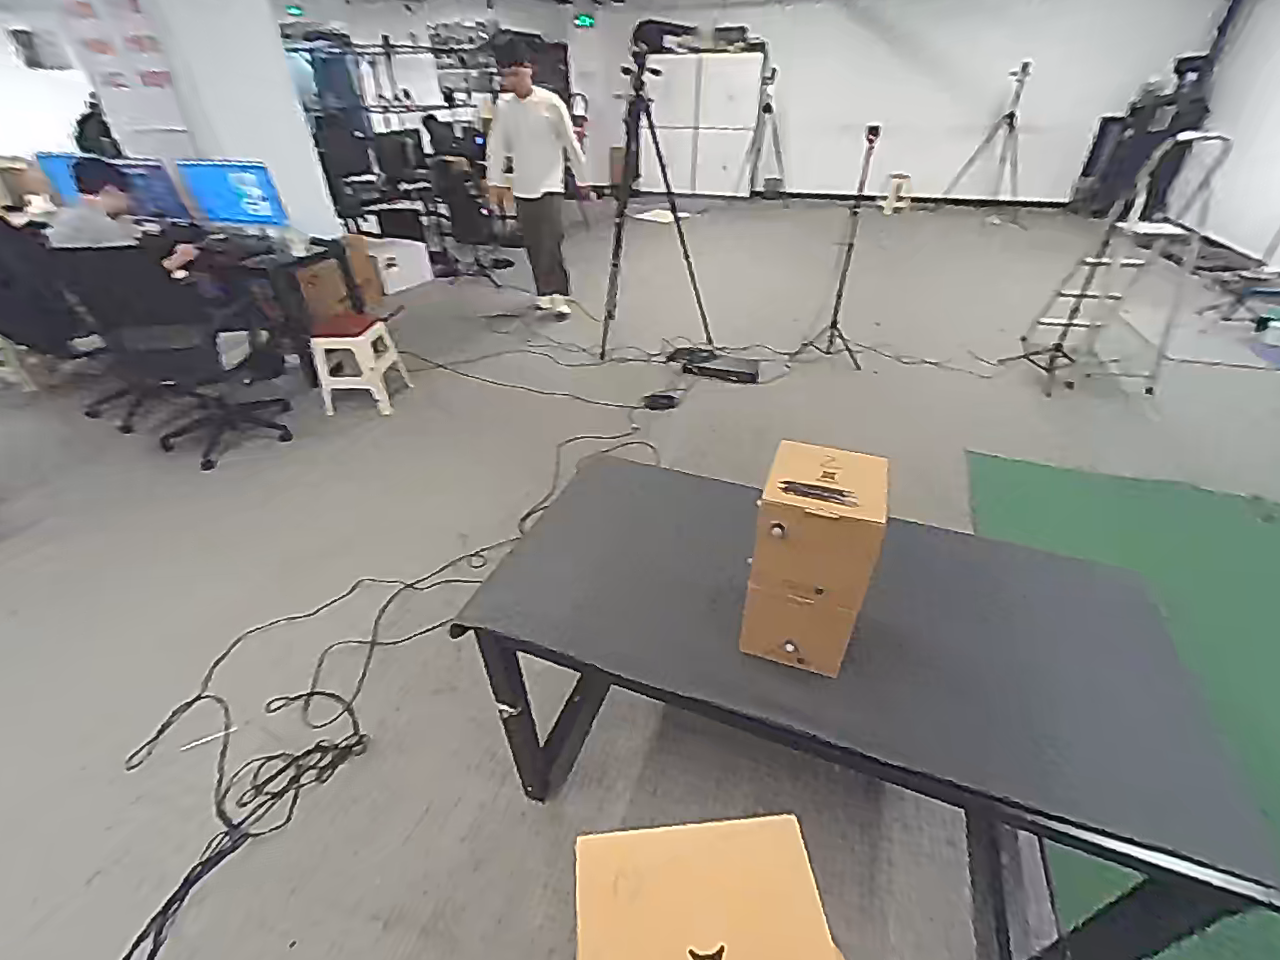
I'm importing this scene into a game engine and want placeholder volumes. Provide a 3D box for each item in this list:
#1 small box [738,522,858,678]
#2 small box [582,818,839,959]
[{"bbox_3d":[0.272,0.205,0.940,0.168,0.176,0.179,12,37,17],"label":"small box"},{"bbox_3d":[0.042,0.372,0.380,0.168,0.176,0.179,-2,38,-5],"label":"small box"}]
